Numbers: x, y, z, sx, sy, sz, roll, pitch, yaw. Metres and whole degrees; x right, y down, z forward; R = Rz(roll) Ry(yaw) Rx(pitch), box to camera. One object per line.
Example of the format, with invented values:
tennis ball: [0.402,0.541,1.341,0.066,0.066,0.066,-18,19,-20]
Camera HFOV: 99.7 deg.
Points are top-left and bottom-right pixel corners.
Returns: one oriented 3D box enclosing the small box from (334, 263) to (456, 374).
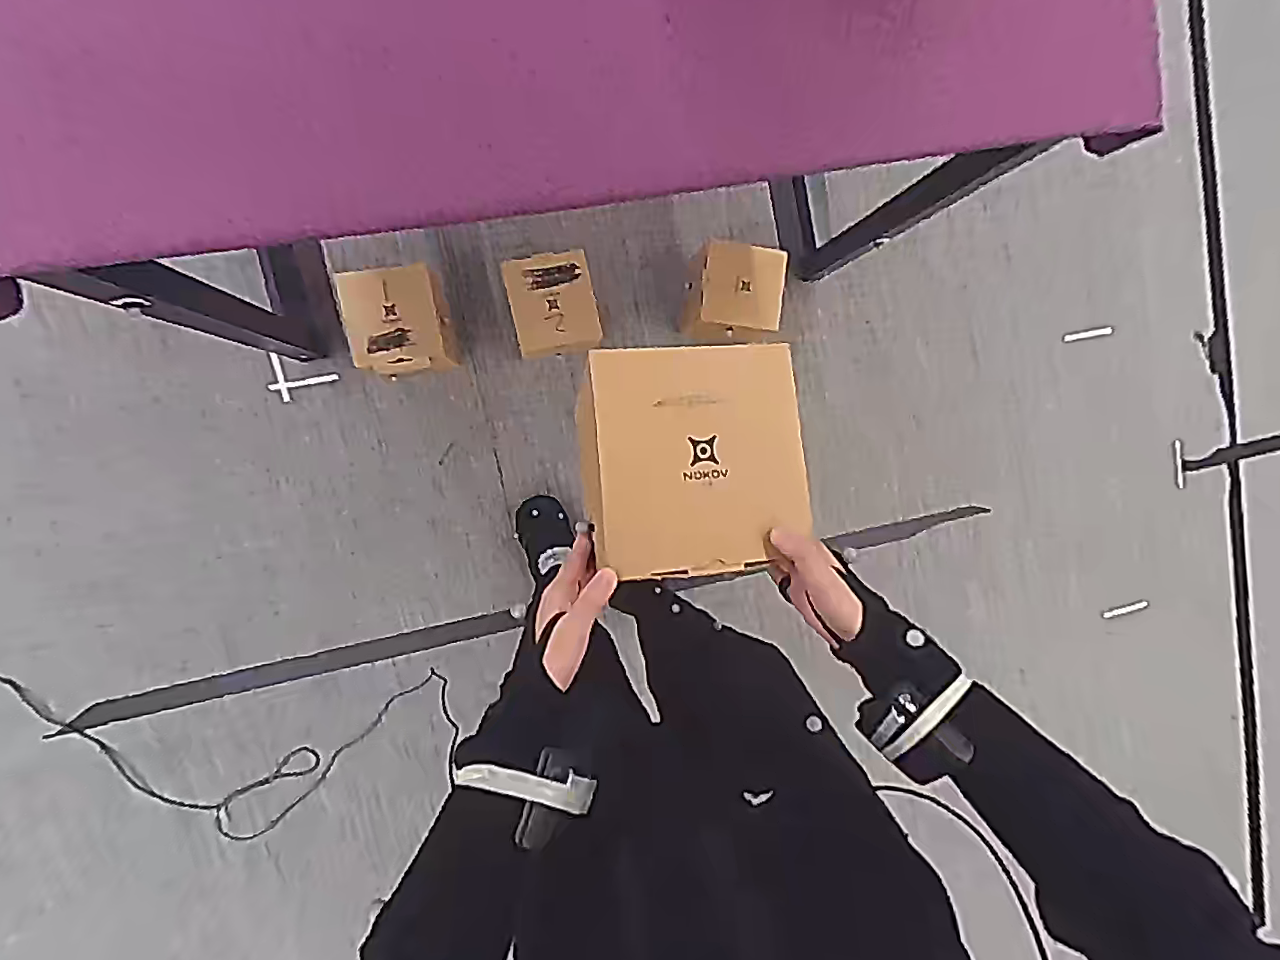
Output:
small box: [-0.477,-0.313,1.079,0.168,0.176,0.179,-11,96,-9]

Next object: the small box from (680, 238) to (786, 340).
small box: [0.198,-0.411,1.196,0.179,0.176,0.168,5,95,-9]

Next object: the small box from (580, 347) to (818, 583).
small box: [0.038,-0.007,0.493,0.168,0.176,0.179,-5,83,-12]
